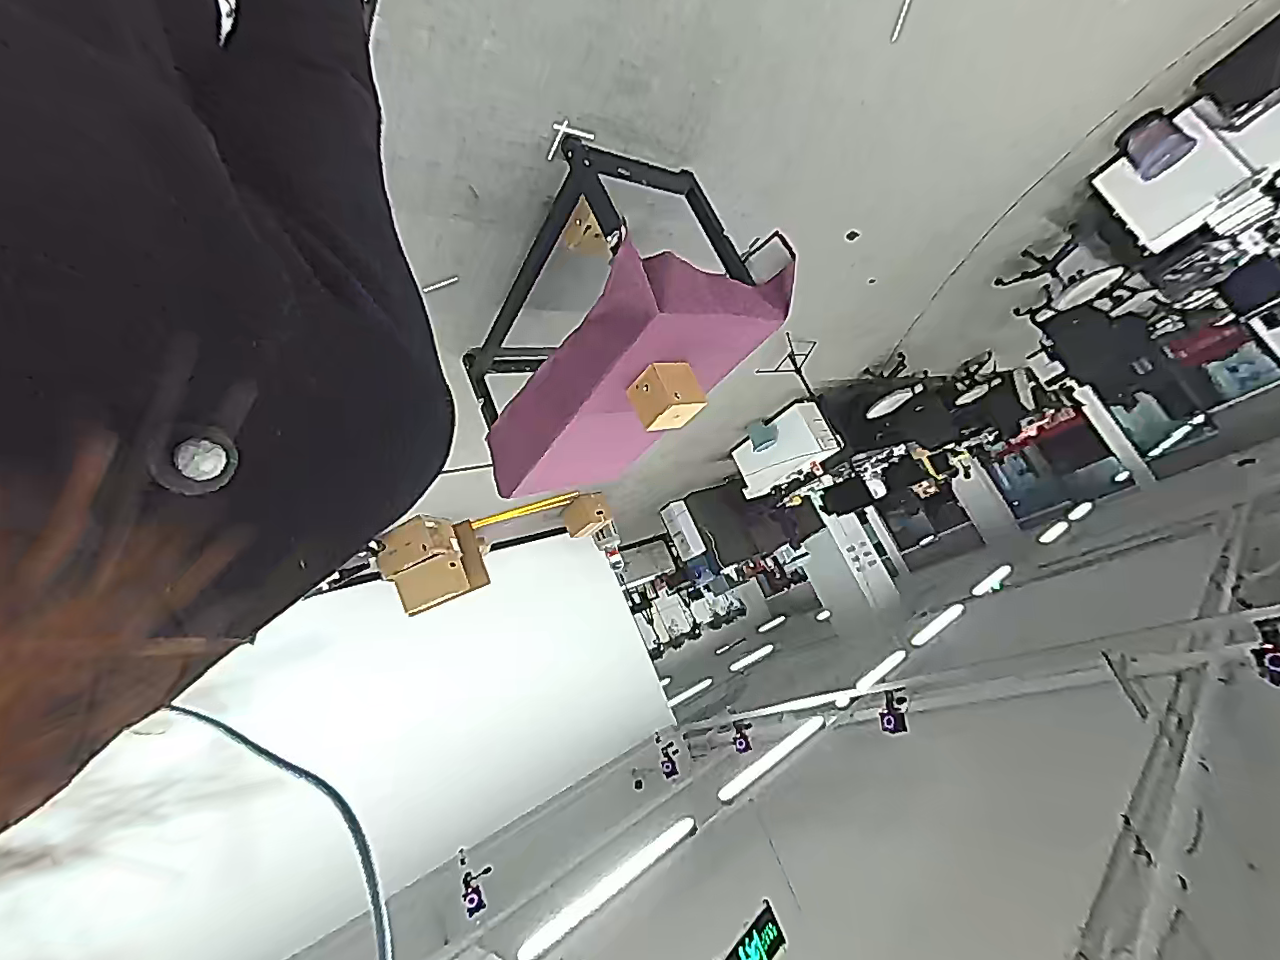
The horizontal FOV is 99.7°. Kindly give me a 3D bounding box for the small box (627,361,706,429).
[{"bbox_3d":[0.088,-0.293,1.848,0.179,0.176,0.168,-11,160,-40],"label":"small box"}]
